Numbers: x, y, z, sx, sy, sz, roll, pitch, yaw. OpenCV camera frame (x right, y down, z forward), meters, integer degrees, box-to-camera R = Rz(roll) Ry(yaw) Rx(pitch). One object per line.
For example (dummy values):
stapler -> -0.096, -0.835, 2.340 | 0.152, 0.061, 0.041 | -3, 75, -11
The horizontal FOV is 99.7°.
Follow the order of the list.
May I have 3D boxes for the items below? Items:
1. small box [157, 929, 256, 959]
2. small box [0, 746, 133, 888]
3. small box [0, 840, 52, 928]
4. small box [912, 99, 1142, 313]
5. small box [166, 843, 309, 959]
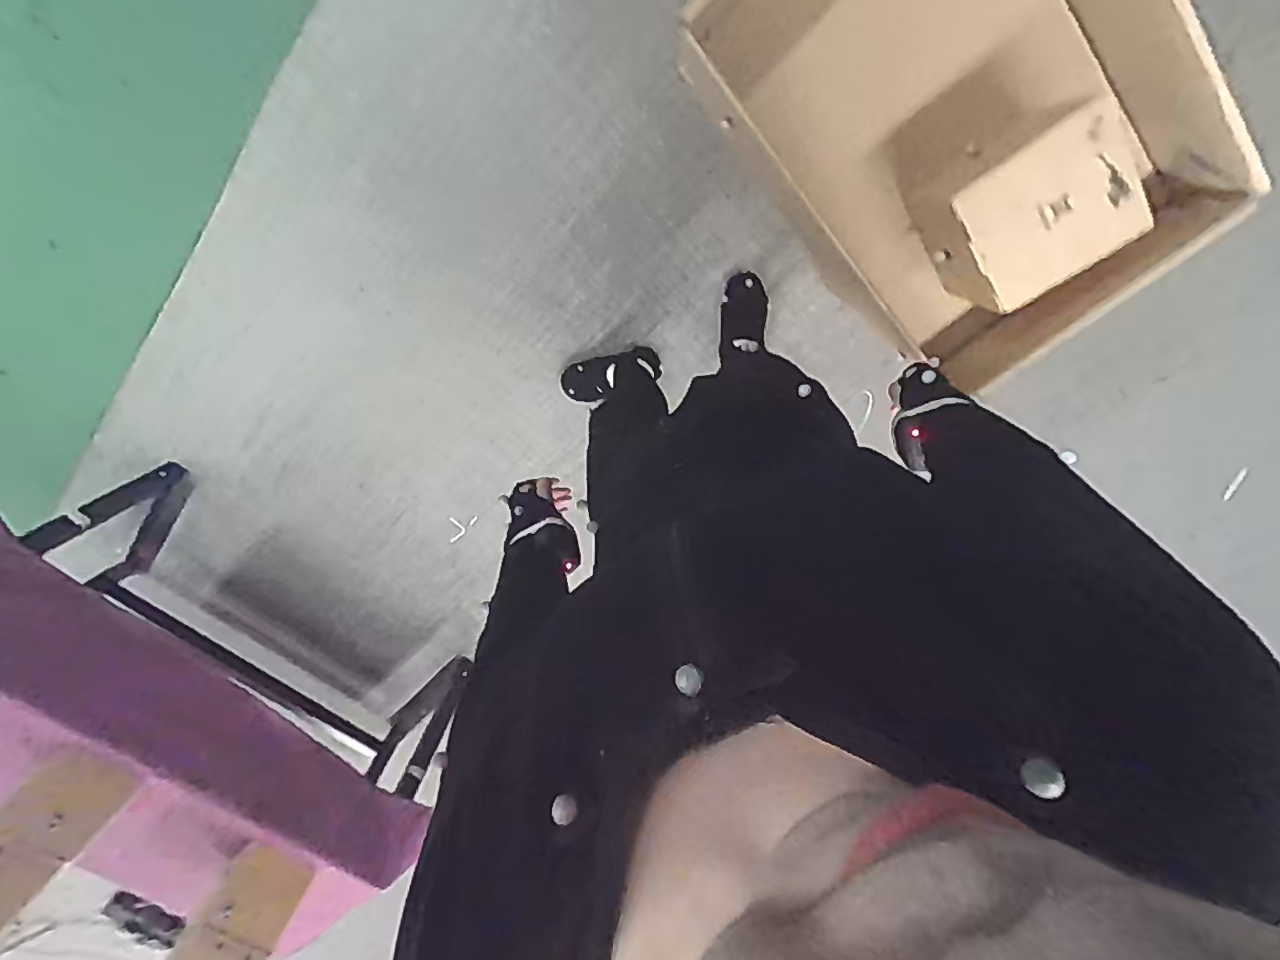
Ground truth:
small box -> -0.928, 1.054, 1.095 | 0.168, 0.176, 0.179 | 41, 115, -14
small box -> -1.227, 0.695, 1.123 | 0.179, 0.176, 0.168 | 43, 113, -16
small box -> -1.246, 0.773, 0.981 | 0.168, 0.176, 0.179 | 41, 114, -14
small box -> 0.486, -0.350, 0.712 | 0.179, 0.176, 0.168 | -31, 111, 20
small box -> -0.911, 0.979, 1.240 | 0.179, 0.176, 0.168 | 41, 114, -14
